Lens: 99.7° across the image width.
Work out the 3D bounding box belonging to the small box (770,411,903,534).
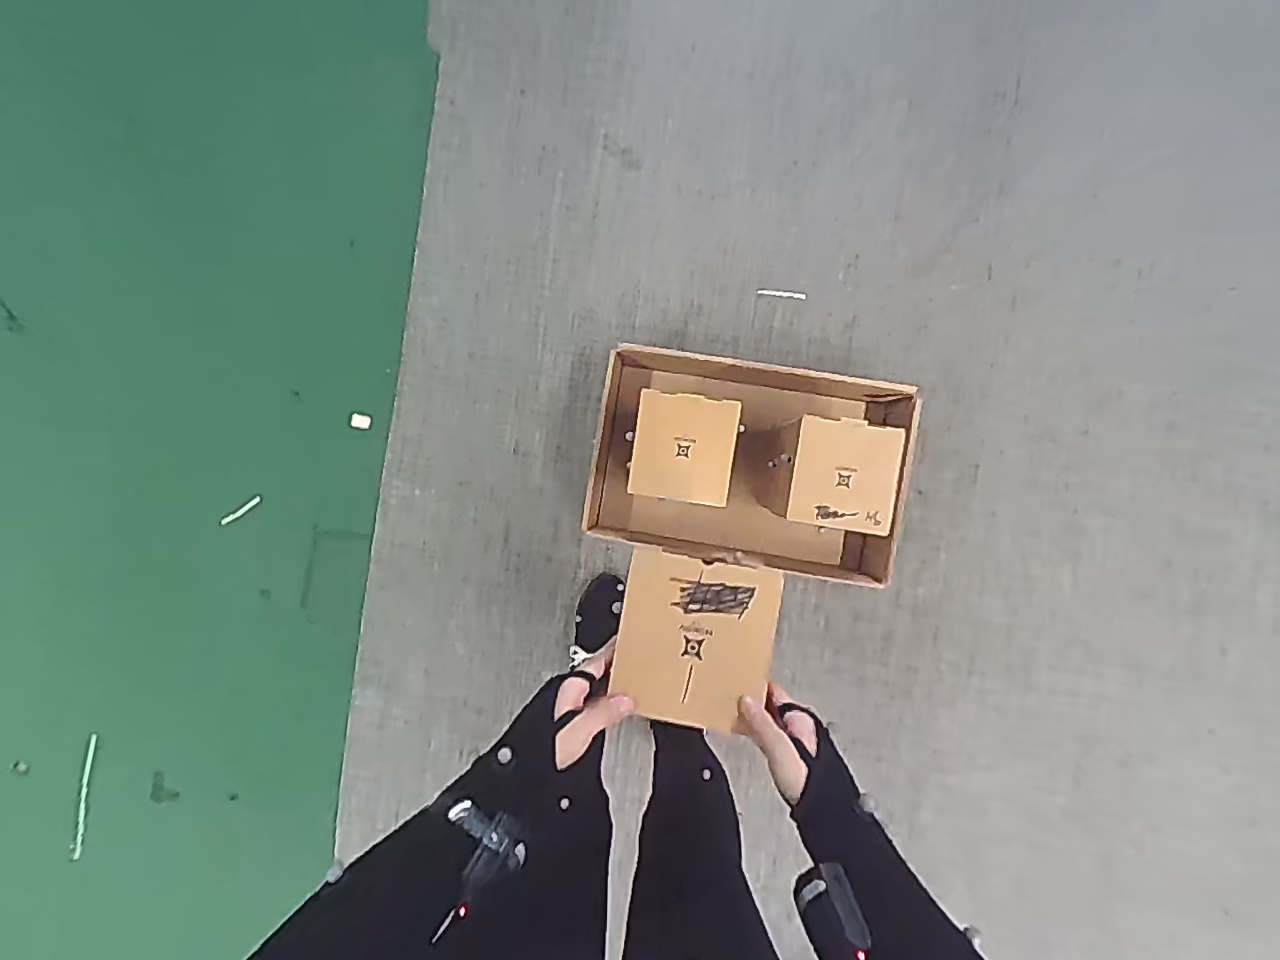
[{"bbox_3d":[0.331,-0.012,0.944,0.168,0.176,0.179,10,90,5],"label":"small box"}]

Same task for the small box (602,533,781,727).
[{"bbox_3d":[0.057,0.166,0.649,0.168,0.176,0.179,11,84,3],"label":"small box"}]

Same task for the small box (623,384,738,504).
[{"bbox_3d":[0.070,-0.060,0.958,0.168,0.176,0.179,9,91,3],"label":"small box"}]
